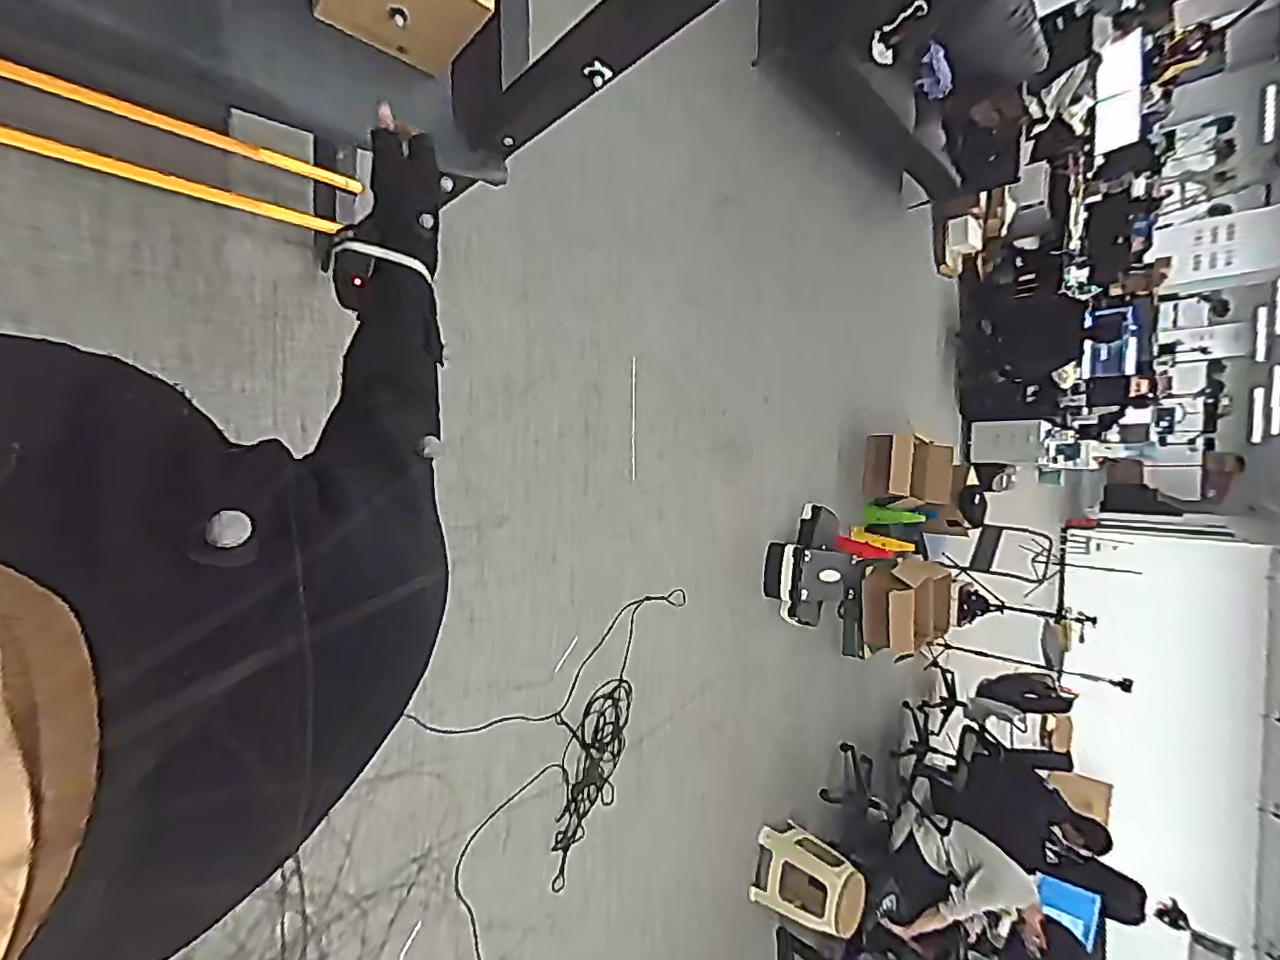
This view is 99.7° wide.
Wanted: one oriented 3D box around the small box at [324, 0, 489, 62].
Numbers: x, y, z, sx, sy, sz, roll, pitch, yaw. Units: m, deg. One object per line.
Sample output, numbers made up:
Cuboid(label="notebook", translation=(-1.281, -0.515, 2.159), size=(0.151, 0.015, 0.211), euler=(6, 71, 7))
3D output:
Cuboid(label="small box", translation=(-0.303, -0.683, 0.678), size=(0.168, 0.176, 0.179), euler=(-4, 94, -45))
